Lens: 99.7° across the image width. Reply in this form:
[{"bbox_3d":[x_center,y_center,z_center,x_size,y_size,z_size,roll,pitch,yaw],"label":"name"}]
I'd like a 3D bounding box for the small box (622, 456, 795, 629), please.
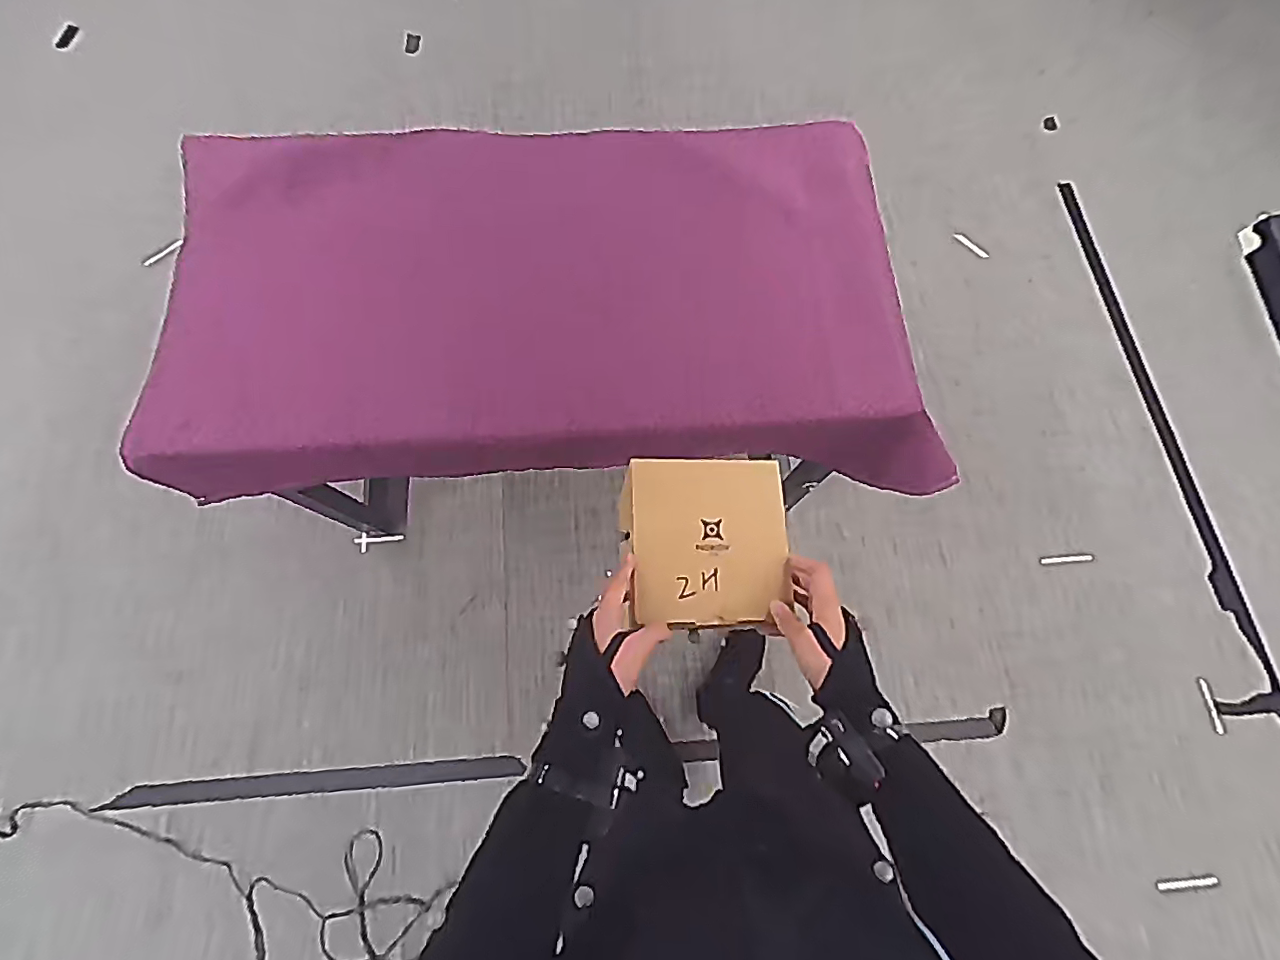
[{"bbox_3d":[0.067,0.083,0.642,0.168,0.176,0.179,1,73,-6],"label":"small box"}]
